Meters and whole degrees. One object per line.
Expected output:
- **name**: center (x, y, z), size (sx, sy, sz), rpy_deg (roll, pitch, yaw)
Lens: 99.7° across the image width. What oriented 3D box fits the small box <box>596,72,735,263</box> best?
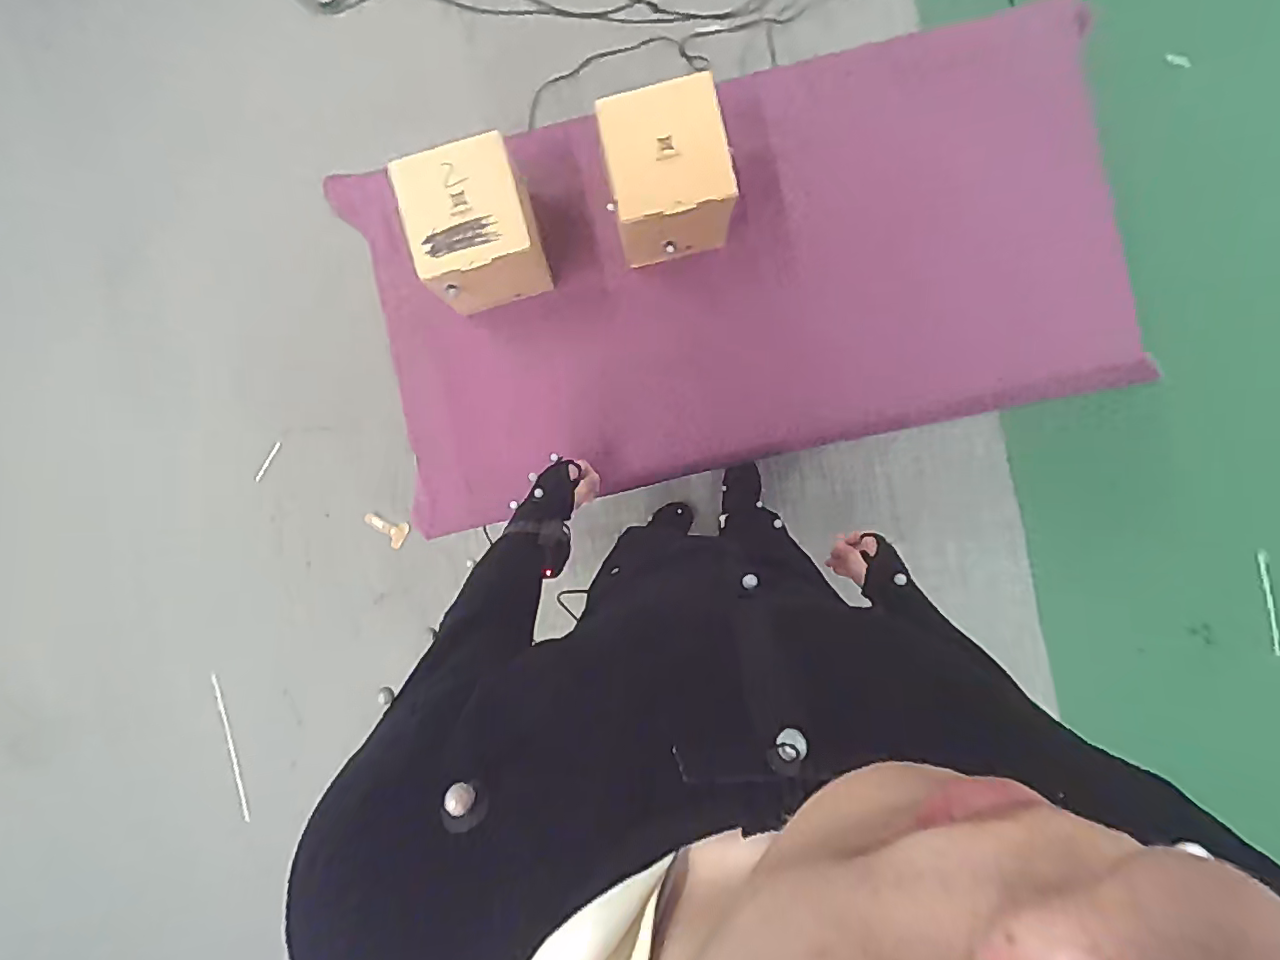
- **small box**: center (0.037, -0.463, 0.828), size (0.168, 0.176, 0.179), rpy_deg (-13, 91, 3)
